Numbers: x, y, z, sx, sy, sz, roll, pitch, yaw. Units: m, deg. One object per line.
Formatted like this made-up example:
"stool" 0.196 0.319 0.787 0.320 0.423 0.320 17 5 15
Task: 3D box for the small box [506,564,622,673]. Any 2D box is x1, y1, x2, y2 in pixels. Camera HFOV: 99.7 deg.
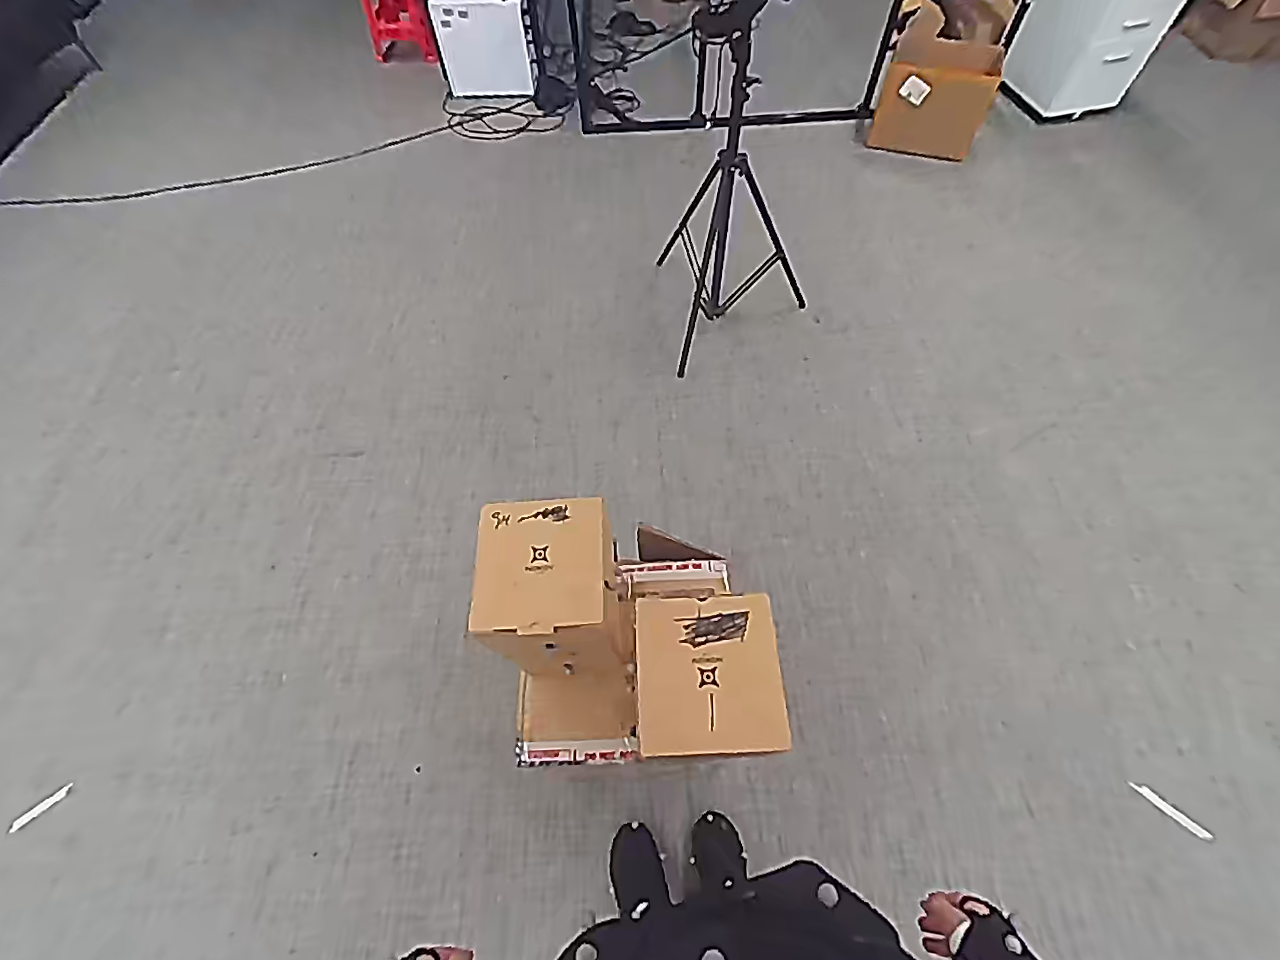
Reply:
"small box" -0.122 0.216 0.911 0.168 0.176 0.179 -5 61 1

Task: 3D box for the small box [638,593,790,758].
"small box" 0.082 0.256 0.696 0.168 0.176 0.179 -3 62 1

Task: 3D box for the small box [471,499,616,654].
"small box" -0.124 0.144 0.762 0.168 0.176 0.179 -4 62 2
